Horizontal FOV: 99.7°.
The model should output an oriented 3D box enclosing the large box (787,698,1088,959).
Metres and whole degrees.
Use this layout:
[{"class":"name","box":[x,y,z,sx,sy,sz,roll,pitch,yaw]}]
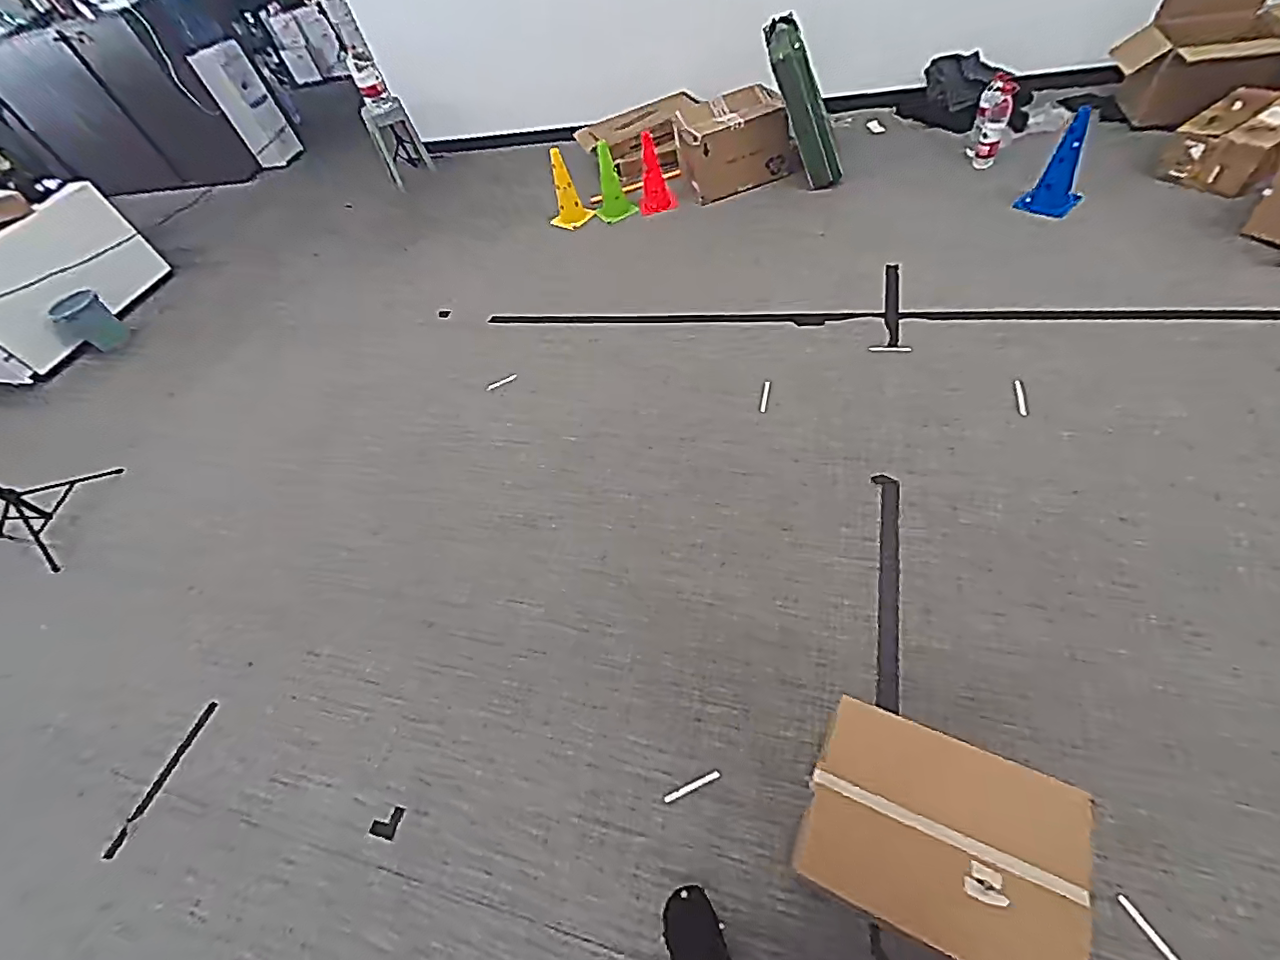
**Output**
[{"class":"large box","box":[0.517,0.669,1.005,0.408,0.320,0.320,17,59,23]}]
